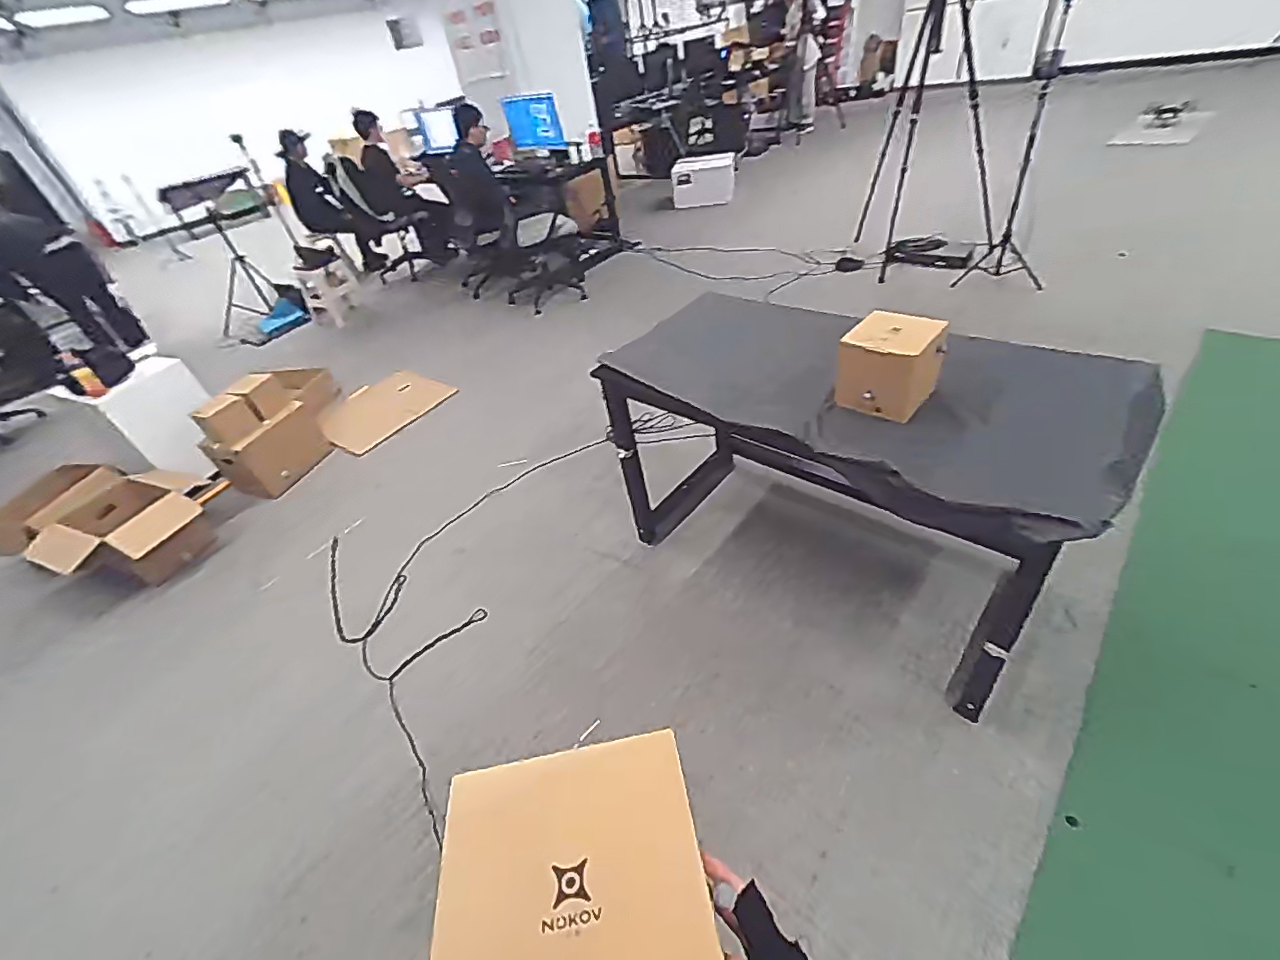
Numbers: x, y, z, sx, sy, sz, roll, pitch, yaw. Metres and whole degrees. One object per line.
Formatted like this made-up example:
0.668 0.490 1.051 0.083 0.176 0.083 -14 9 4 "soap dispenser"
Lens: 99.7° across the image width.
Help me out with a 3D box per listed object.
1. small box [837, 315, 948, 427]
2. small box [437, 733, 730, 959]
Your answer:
0.565 -0.250 1.230 0.168 0.176 0.179 26 52 36 "small box"
-0.032 0.315 0.376 0.168 0.176 0.179 -10 38 -5 "small box"
